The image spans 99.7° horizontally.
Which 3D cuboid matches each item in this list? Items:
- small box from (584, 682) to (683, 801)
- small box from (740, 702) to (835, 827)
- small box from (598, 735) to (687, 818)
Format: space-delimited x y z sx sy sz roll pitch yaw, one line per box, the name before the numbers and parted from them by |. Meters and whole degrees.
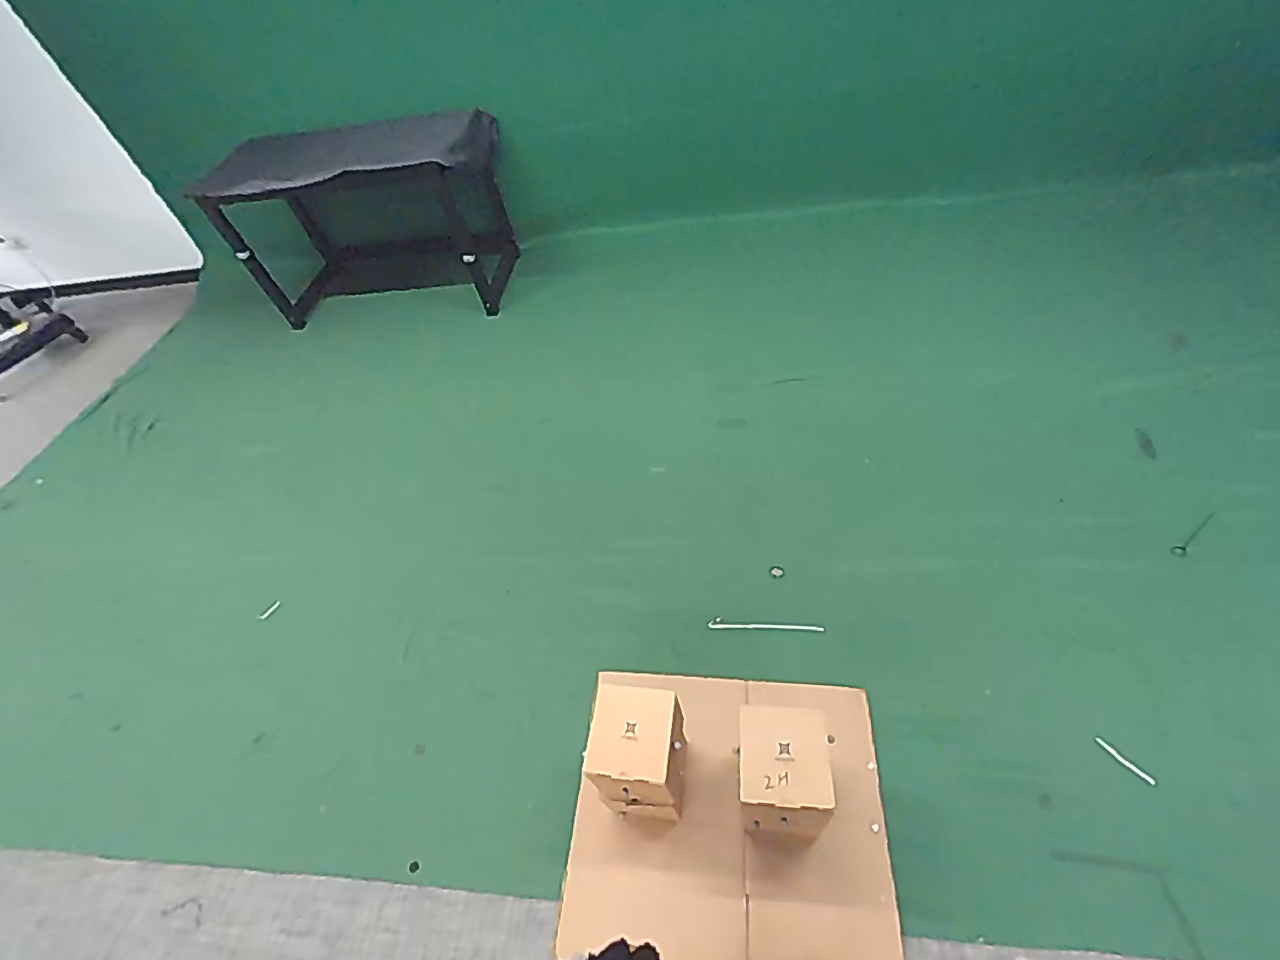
small box | -0.004 0.548 1.134 0.168 0.176 0.179 2 51 13
small box | 0.282 0.560 1.065 0.168 0.176 0.179 -1 49 11
small box | 0.014 0.662 1.249 0.168 0.176 0.179 0 49 13
